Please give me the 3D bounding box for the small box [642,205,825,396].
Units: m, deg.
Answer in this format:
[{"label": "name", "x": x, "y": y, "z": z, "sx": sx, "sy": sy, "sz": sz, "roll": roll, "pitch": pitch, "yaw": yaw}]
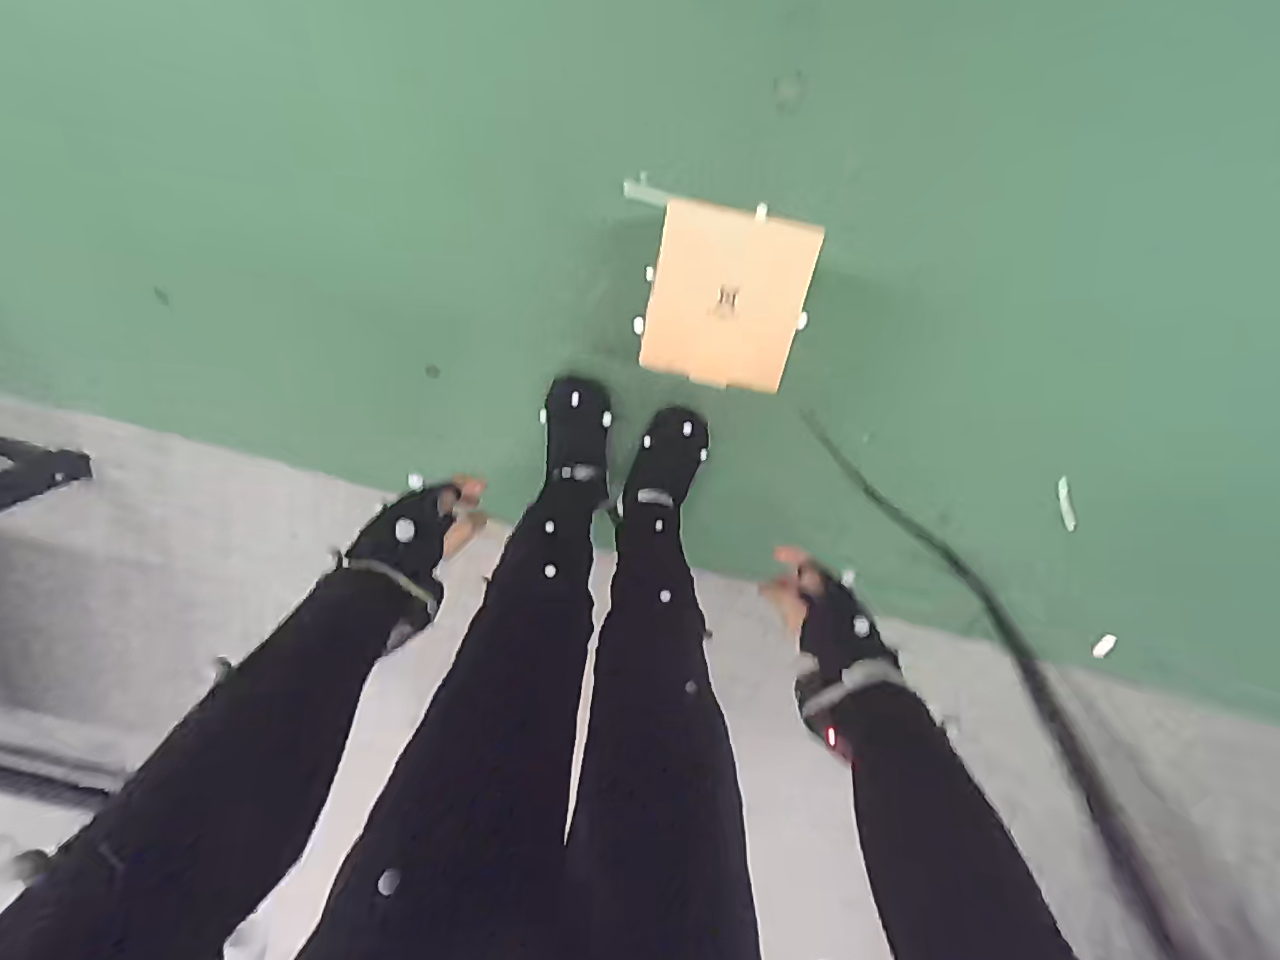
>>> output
[{"label": "small box", "x": 0.102, "y": -0.223, "z": 0.664, "sx": 0.168, "sy": 0.176, "sz": 0.179, "roll": 12, "pitch": 115, "yaw": -1}]
